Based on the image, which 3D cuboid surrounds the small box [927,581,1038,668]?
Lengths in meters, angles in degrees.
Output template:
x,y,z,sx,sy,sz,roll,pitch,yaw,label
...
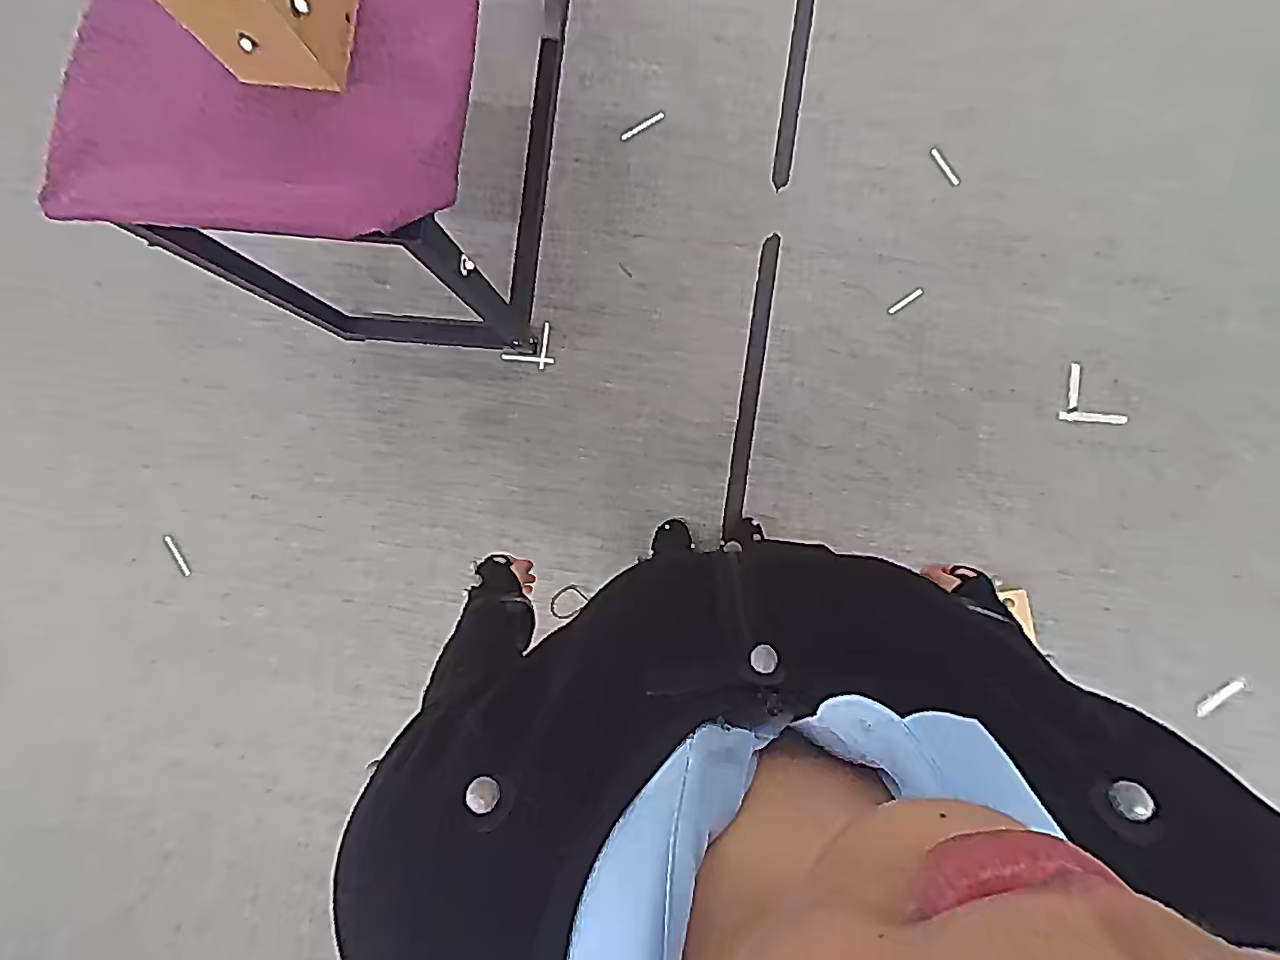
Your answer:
x,y,z,sx,sy,sz,roll,pitch,yaw,label
0.858,0.358,1.372,0.168,0.176,0.179,-9,87,3,small box
